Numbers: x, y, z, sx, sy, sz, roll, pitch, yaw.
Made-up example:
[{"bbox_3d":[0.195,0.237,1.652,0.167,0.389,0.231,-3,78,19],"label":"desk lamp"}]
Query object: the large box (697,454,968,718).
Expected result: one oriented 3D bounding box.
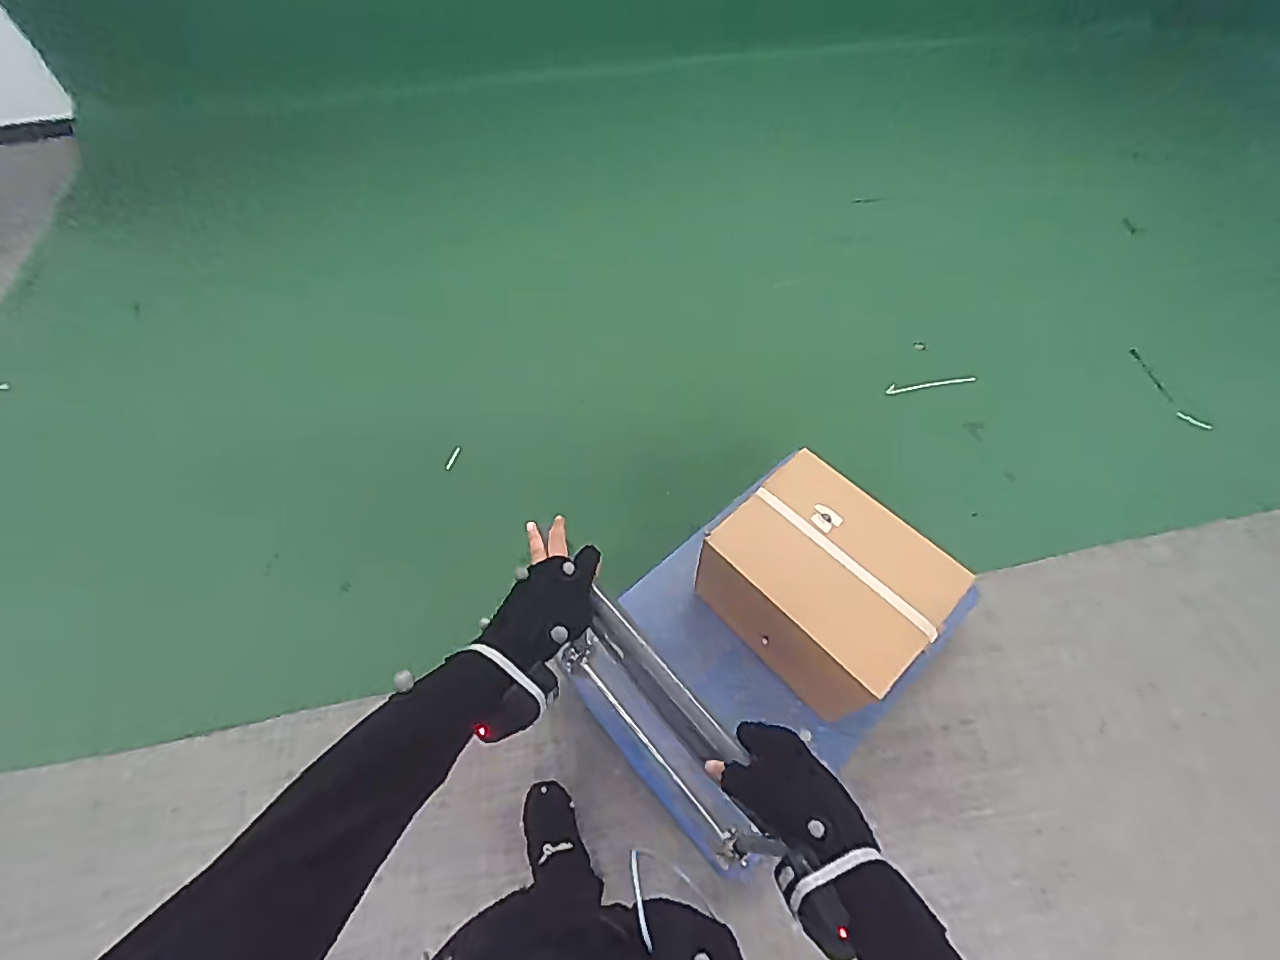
[{"bbox_3d":[0.374,0.230,1.159,0.320,0.320,0.408,-39,65,-20],"label":"large box"}]
